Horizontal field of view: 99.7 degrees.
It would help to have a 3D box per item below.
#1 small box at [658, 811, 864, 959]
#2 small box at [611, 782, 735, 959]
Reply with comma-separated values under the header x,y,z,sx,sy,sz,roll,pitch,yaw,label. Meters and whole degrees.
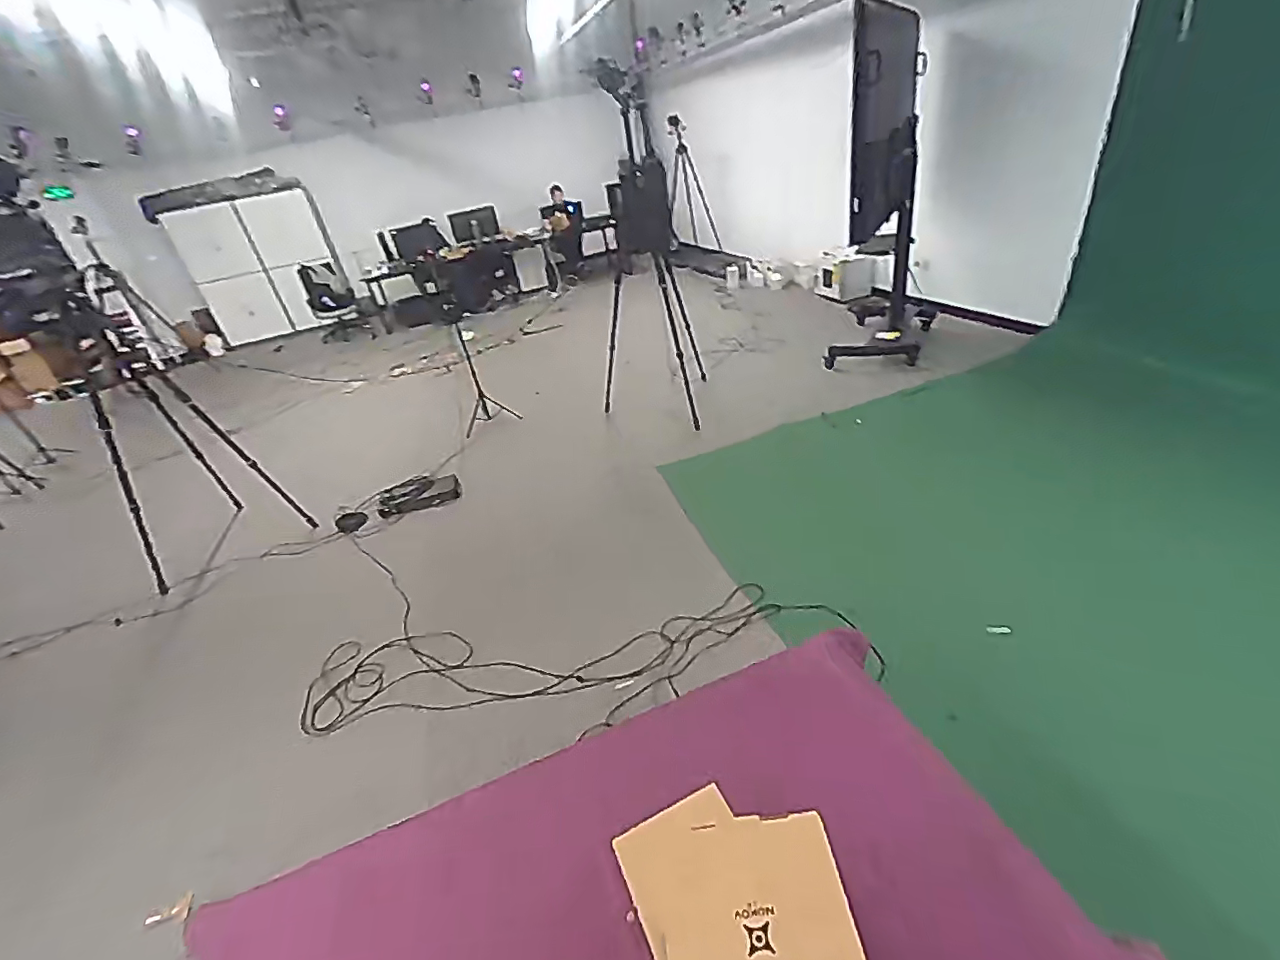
x,y,z,sx,sy,sz,roll,pitch,yaw,label
0.112,0.451,0.506,0.168,0.176,0.179,-9,32,3,small box
0.077,0.564,0.731,0.168,0.176,0.179,-21,34,-15,small box
